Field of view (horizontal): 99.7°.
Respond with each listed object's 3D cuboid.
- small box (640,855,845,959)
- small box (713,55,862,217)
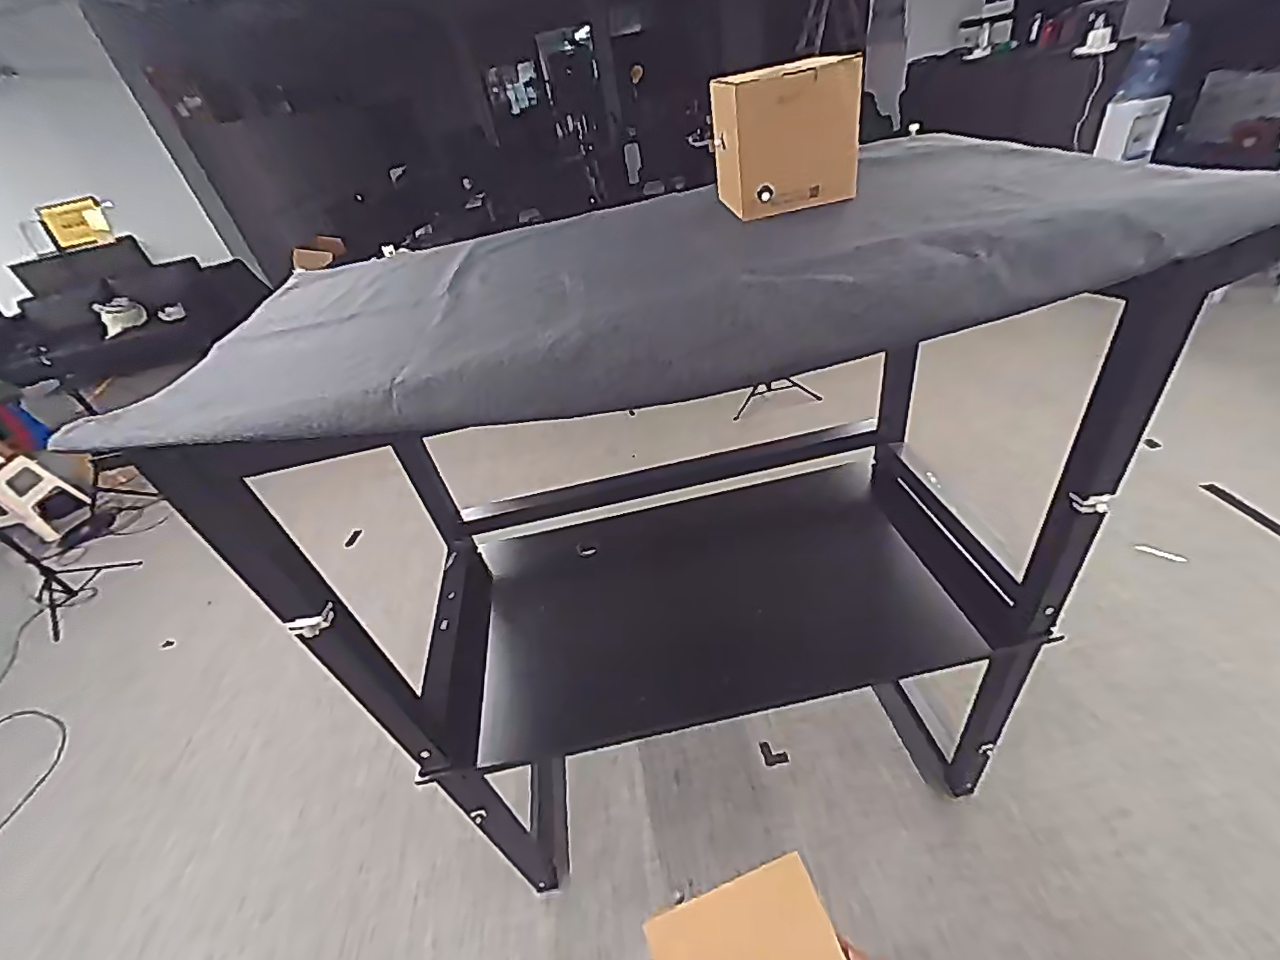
[{"bbox_3d":[0.123,0.510,0.550,0.179,0.176,0.168,-25,50,0],"label":"small box"},{"bbox_3d":[0.210,-0.502,0.797,0.168,0.176,0.179,-10,37,2],"label":"small box"}]
